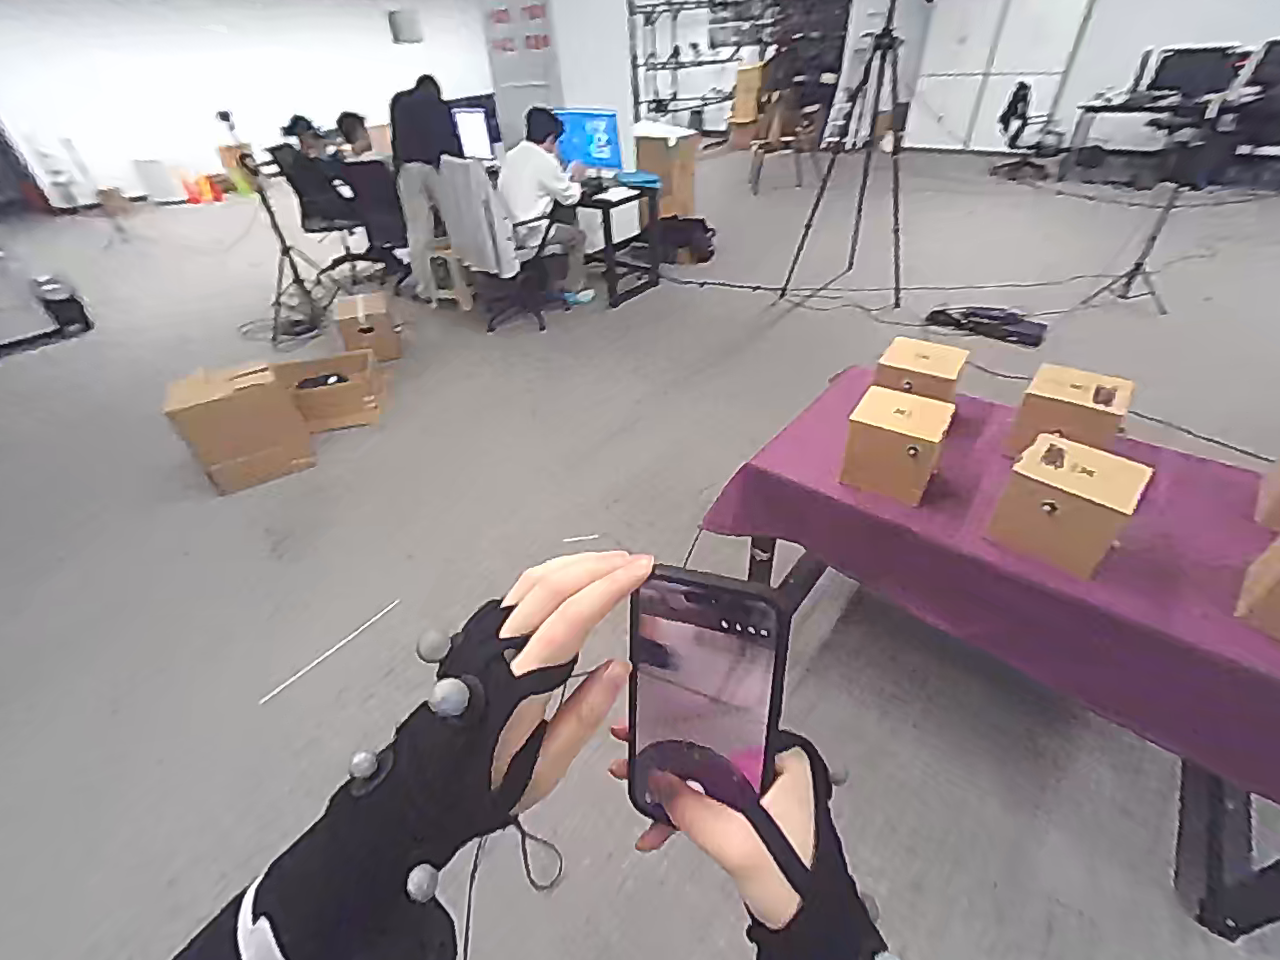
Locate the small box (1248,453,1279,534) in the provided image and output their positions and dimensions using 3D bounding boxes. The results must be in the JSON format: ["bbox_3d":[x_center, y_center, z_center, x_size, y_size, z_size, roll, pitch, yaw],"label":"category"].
[{"bbox_3d":[1.297,0.016,1.006,0.168,0.176,0.179,29,49,34],"label":"small box"}]

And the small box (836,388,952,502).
[{"bbox_3d":[0.548,-0.076,1.182,0.179,0.176,0.168,22,45,27],"label":"small box"}]

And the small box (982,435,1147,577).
[{"bbox_3d":[0.779,0.048,1.009,0.168,0.176,0.179,-33,48,-31],"label":"small box"}]

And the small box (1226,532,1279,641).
[{"bbox_3d":[1.083,0.169,0.834,0.168,0.176,0.179,-31,47,-31],"label":"small box"}]
